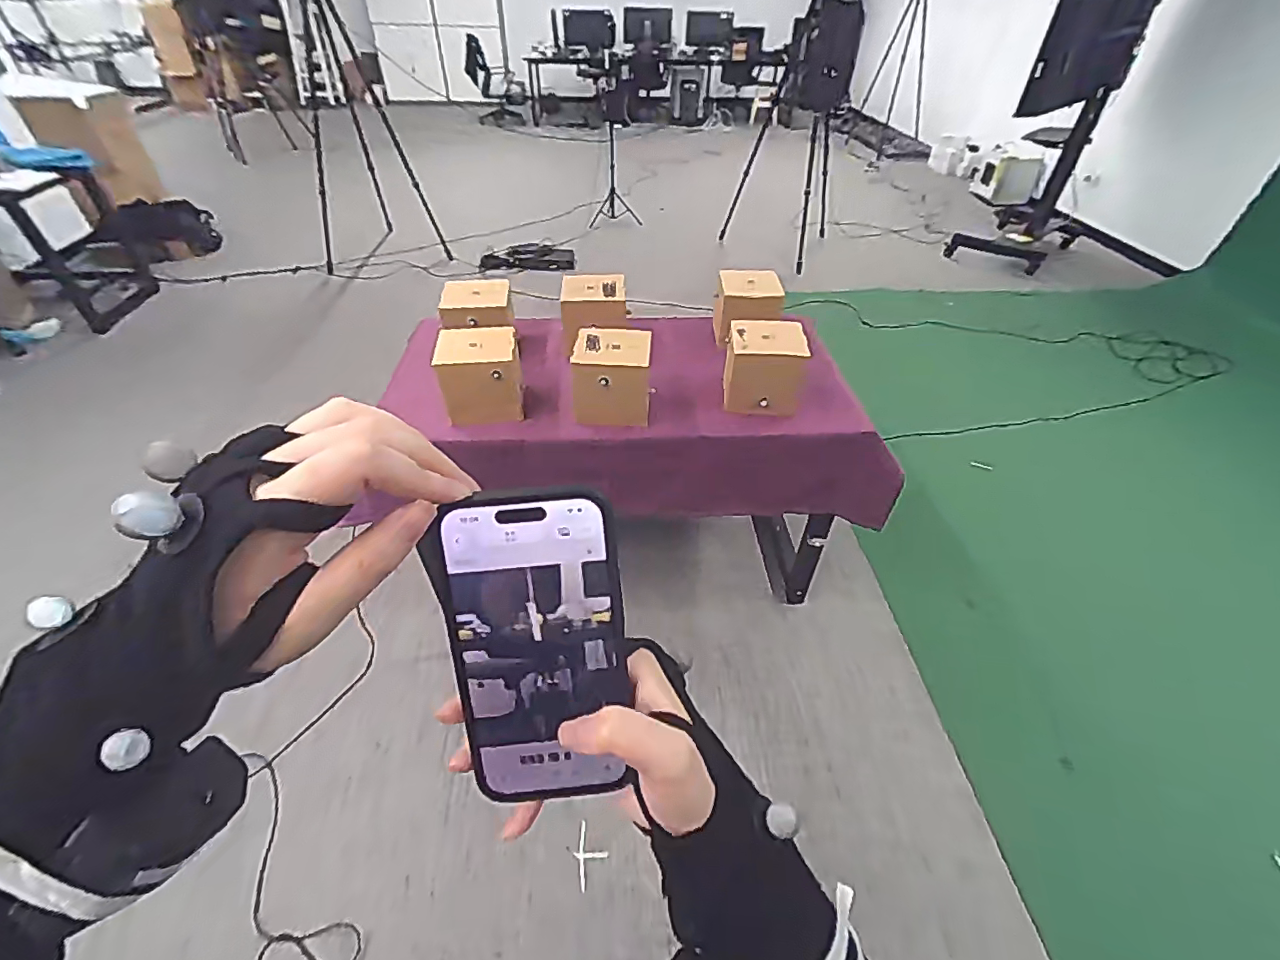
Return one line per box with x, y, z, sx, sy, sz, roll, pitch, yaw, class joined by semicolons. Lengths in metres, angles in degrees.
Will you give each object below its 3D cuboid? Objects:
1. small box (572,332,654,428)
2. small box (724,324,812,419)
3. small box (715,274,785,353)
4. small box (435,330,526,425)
-0.060;-0.239;1.297;0.179;0.176;0.168;4;43;1;small box
0.308;-0.267;1.338;0.179;0.176;0.168;4;42;2;small box
0.311;-0.480;1.568;0.168;0.176;0.179;1;43;1;small box
-0.373;-0.243;1.295;0.179;0.176;0.168;-4;42;-8;small box
